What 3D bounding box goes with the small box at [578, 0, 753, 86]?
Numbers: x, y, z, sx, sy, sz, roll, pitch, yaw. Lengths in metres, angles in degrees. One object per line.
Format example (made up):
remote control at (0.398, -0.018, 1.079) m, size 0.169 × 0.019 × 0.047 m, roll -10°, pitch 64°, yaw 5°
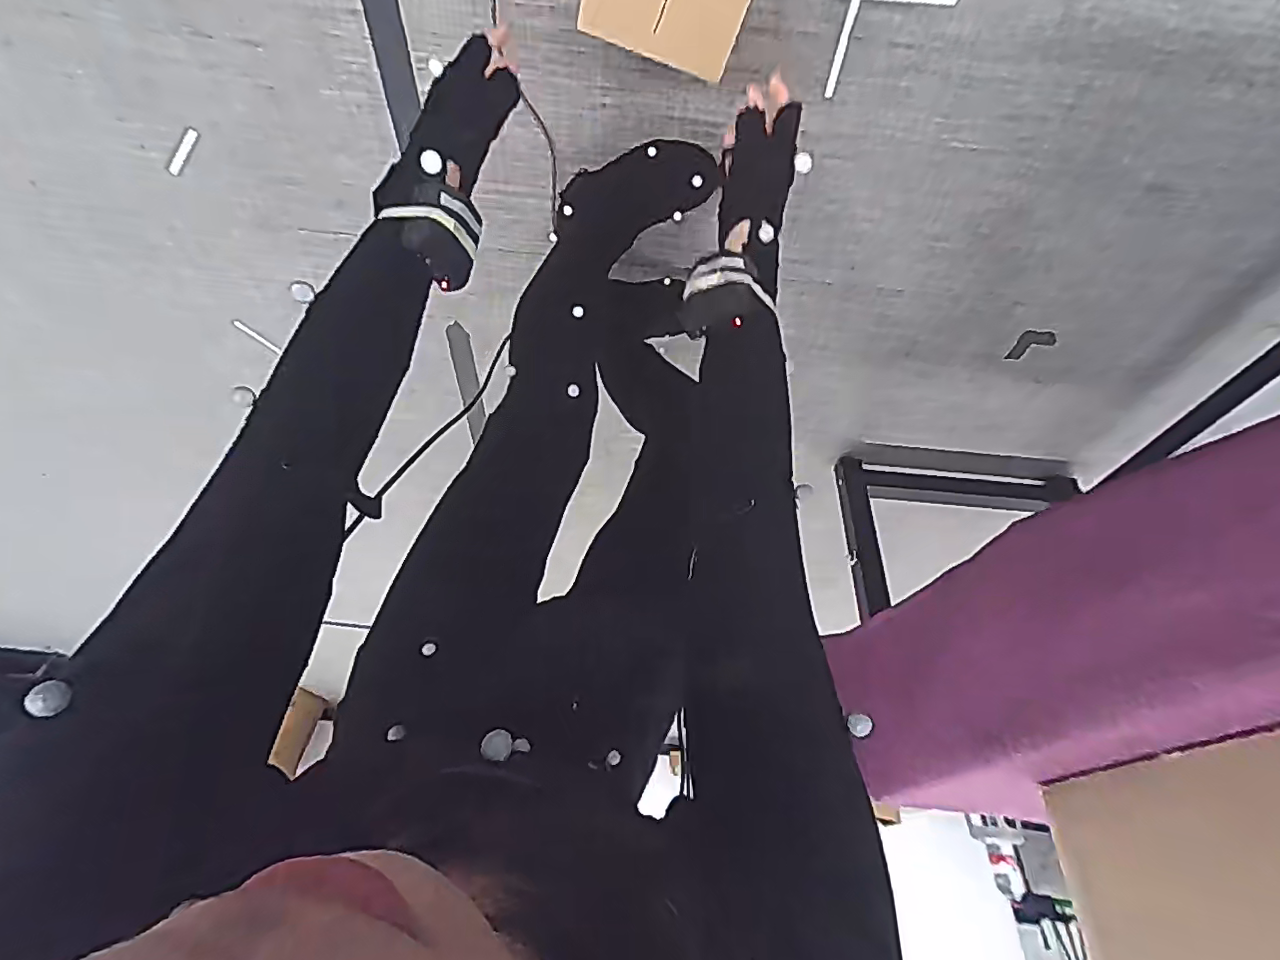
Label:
small box at (0.042, -0.568, 0.559) m, size 0.168 × 0.176 × 0.179 m, roll 13°, pitch 146°, yaw -14°
